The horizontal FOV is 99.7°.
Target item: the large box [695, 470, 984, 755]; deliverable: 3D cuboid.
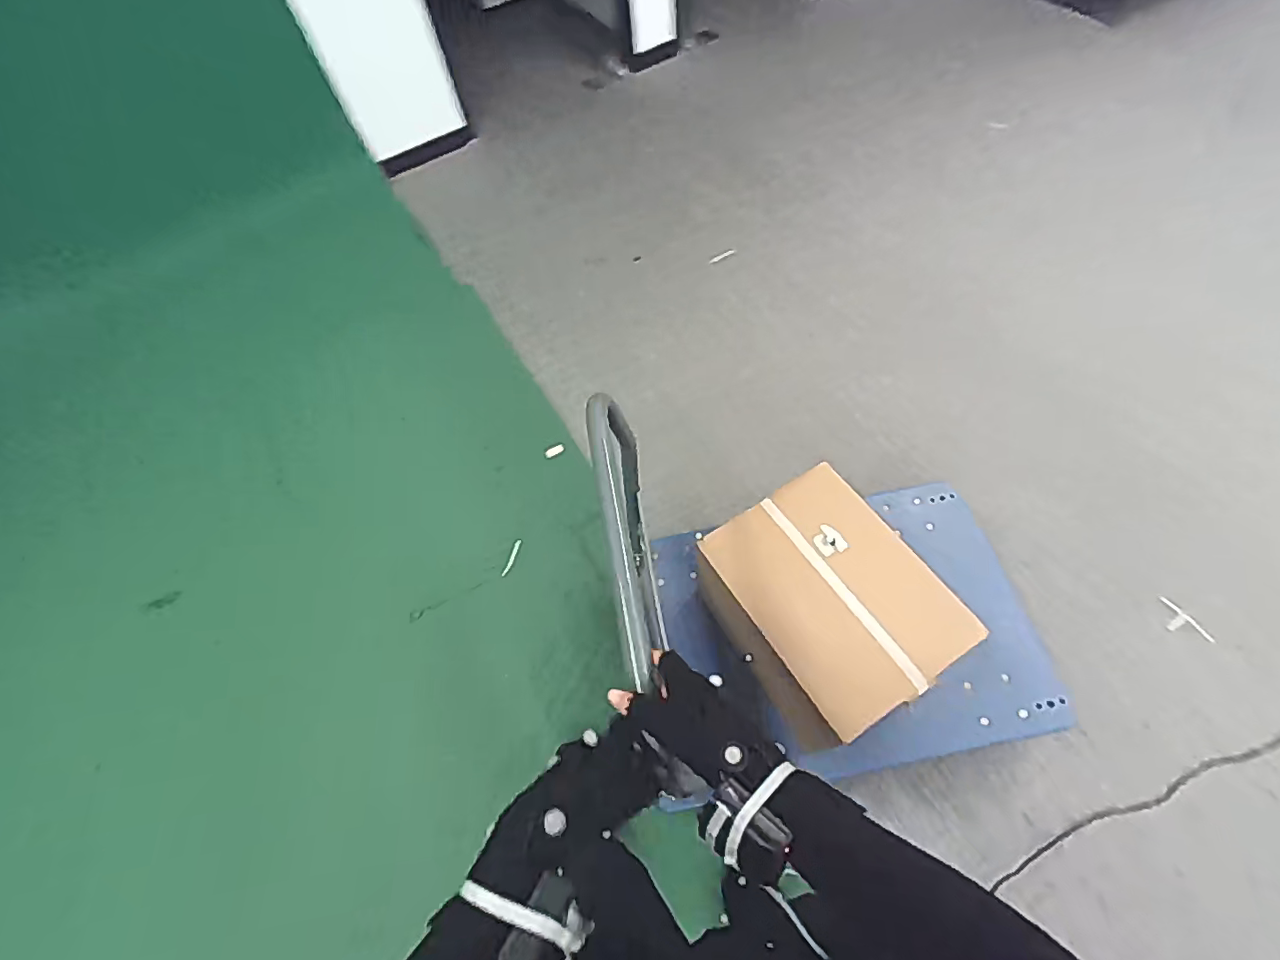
[{"bbox_3d":[0.351,0.267,1.076,0.320,0.320,0.408,-30,61,-11],"label":"large box"}]
